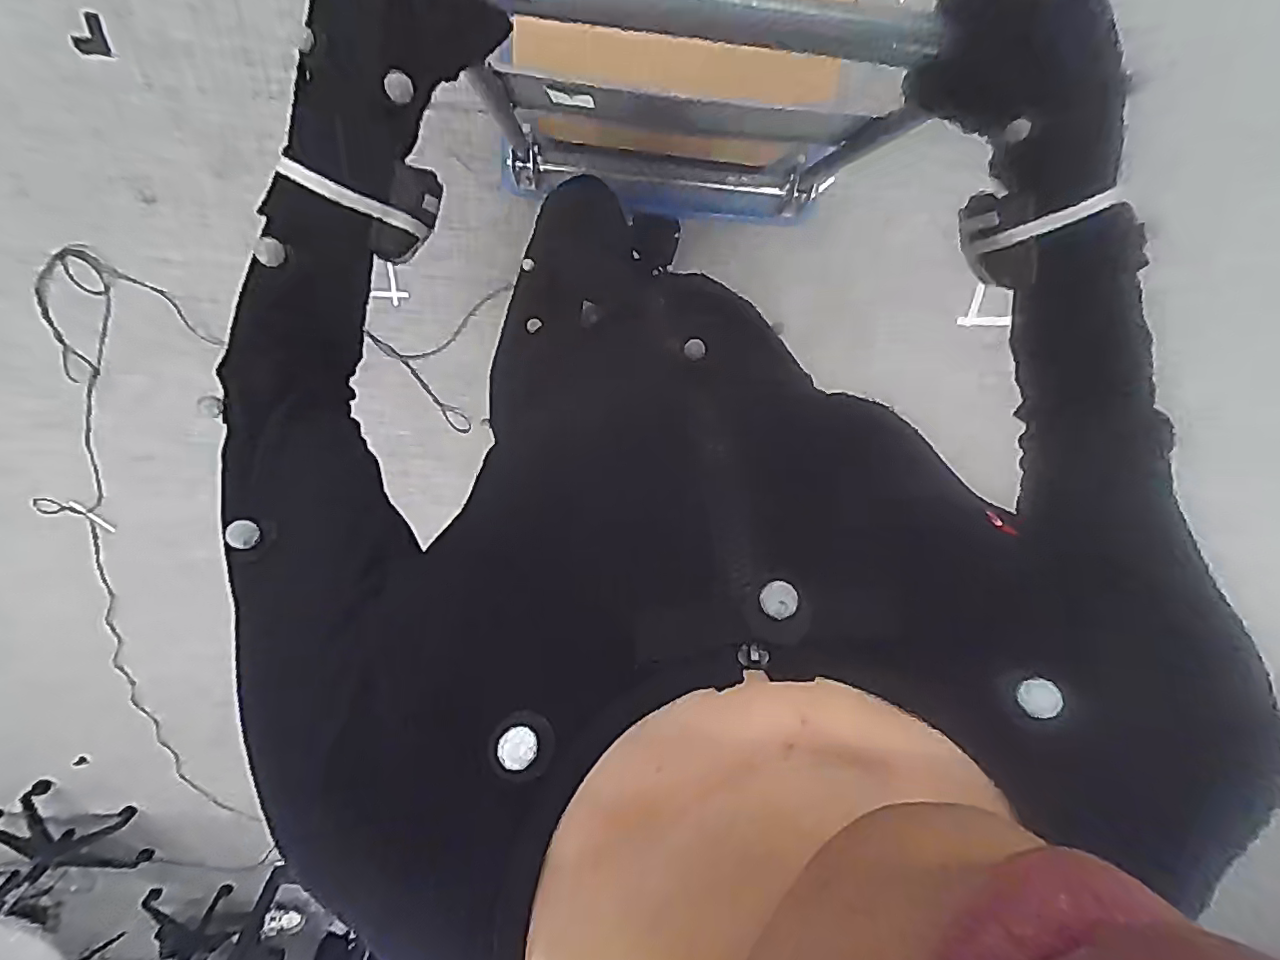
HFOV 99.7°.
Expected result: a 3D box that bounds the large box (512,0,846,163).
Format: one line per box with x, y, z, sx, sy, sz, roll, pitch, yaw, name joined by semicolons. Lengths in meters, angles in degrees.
0.043;-0.666;0.761;0.408;0.320;0.320;4;111;-5;large box
